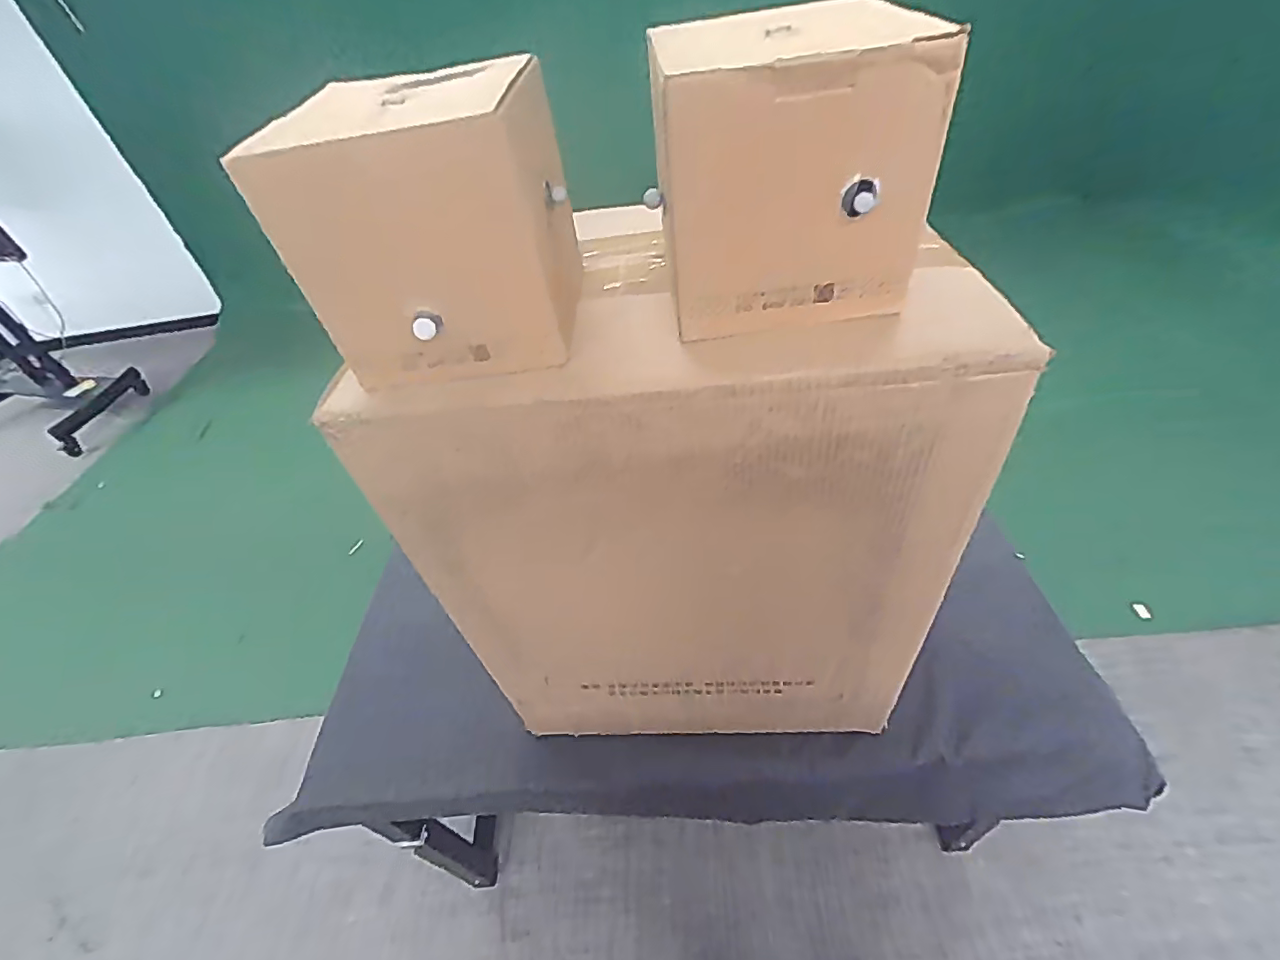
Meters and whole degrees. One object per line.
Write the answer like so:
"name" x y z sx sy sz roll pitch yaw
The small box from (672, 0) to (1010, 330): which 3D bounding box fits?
"small box" 0.115 -0.222 0.395 0.168 0.176 0.179 -5 46 1
